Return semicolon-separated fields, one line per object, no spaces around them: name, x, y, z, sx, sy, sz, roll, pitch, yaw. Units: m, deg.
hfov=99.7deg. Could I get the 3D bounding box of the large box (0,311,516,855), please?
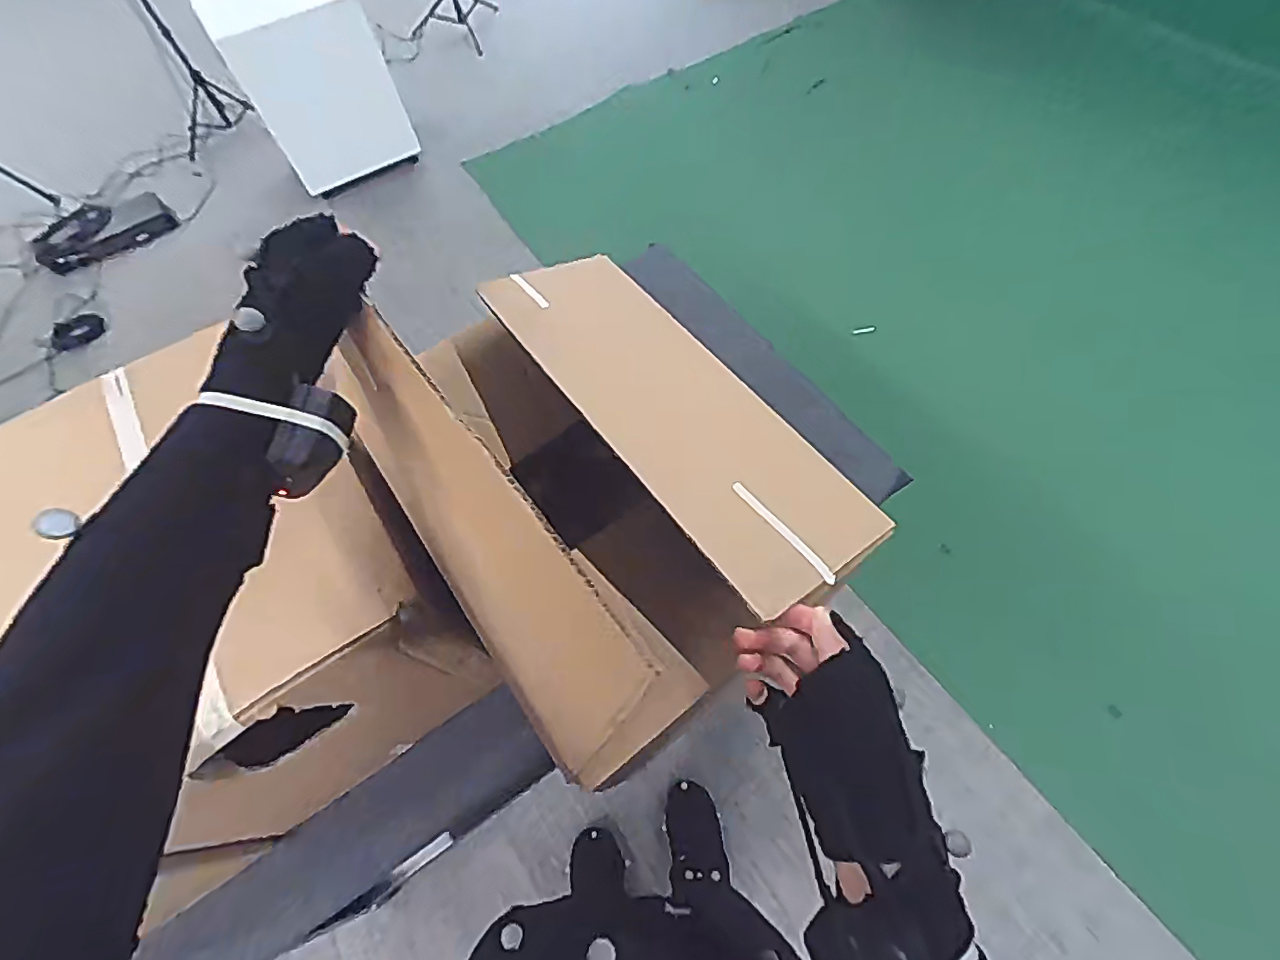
large box;-0.396;0.101;0.603;0.320;0.320;0.408;-33;66;-13
